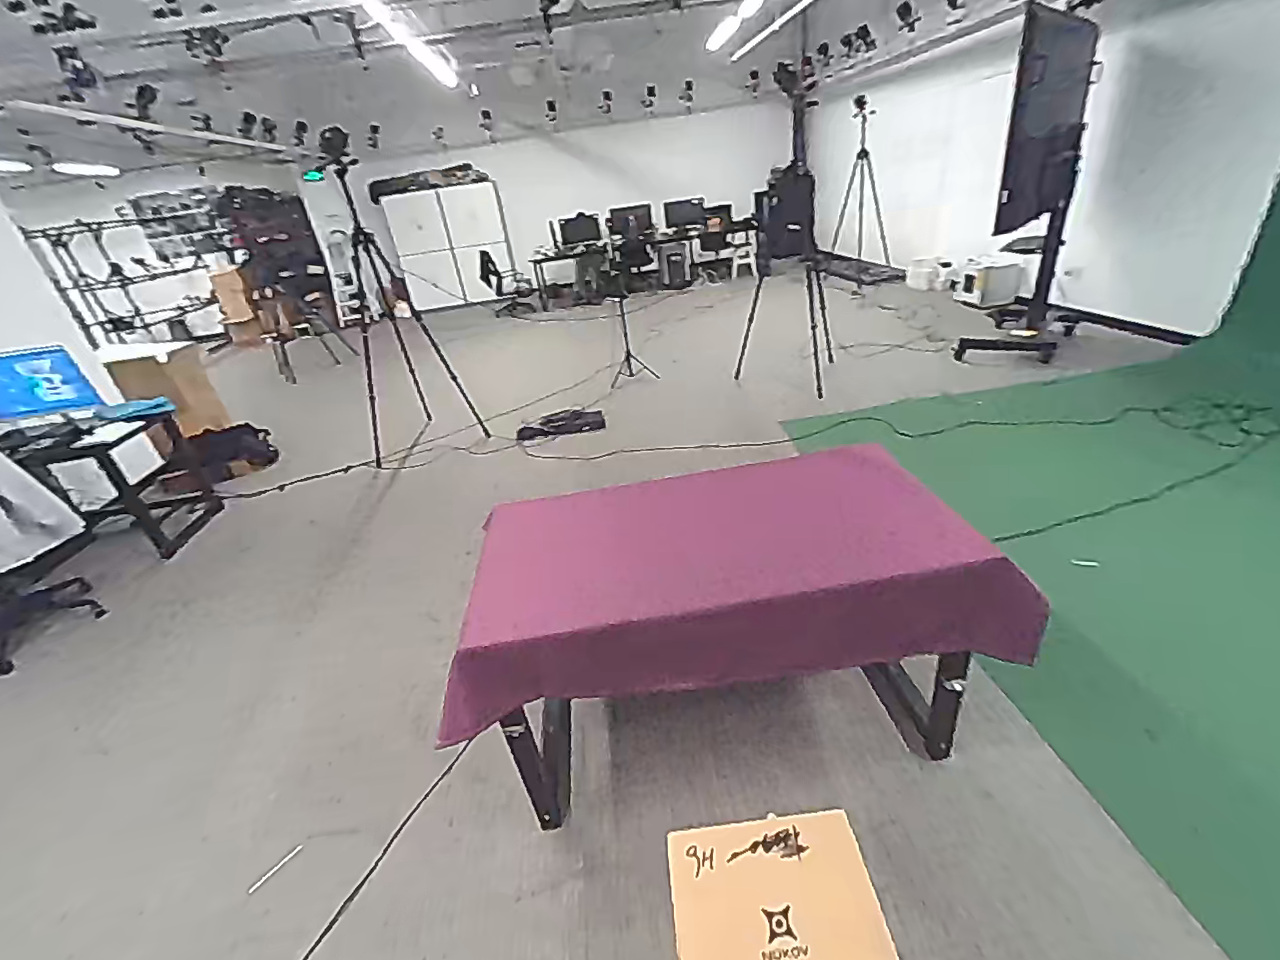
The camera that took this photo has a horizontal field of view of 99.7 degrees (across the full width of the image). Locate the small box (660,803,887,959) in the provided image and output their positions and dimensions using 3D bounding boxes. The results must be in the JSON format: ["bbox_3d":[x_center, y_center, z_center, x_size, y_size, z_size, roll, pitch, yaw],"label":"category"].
[{"bbox_3d":[0.117,0.422,0.469,0.168,0.176,0.179,-10,32,2],"label":"small box"}]
